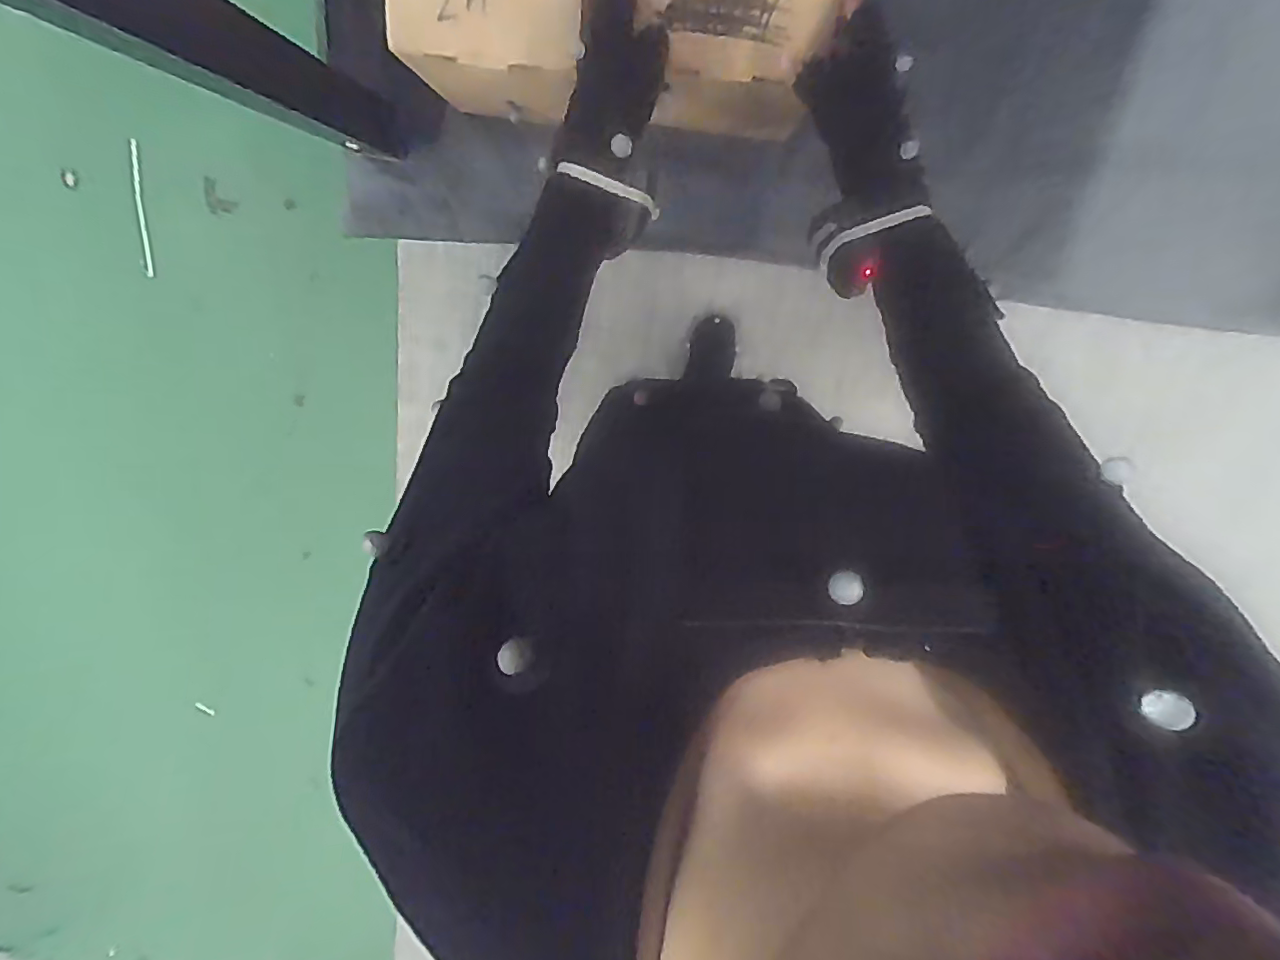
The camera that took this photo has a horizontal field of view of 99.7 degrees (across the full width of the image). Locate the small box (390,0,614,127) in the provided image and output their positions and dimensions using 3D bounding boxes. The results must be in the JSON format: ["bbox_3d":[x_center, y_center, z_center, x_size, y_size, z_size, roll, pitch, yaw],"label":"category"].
[{"bbox_3d":[-0.117,-0.464,0.507,0.168,0.176,0.179,7,110,1],"label":"small box"}]
